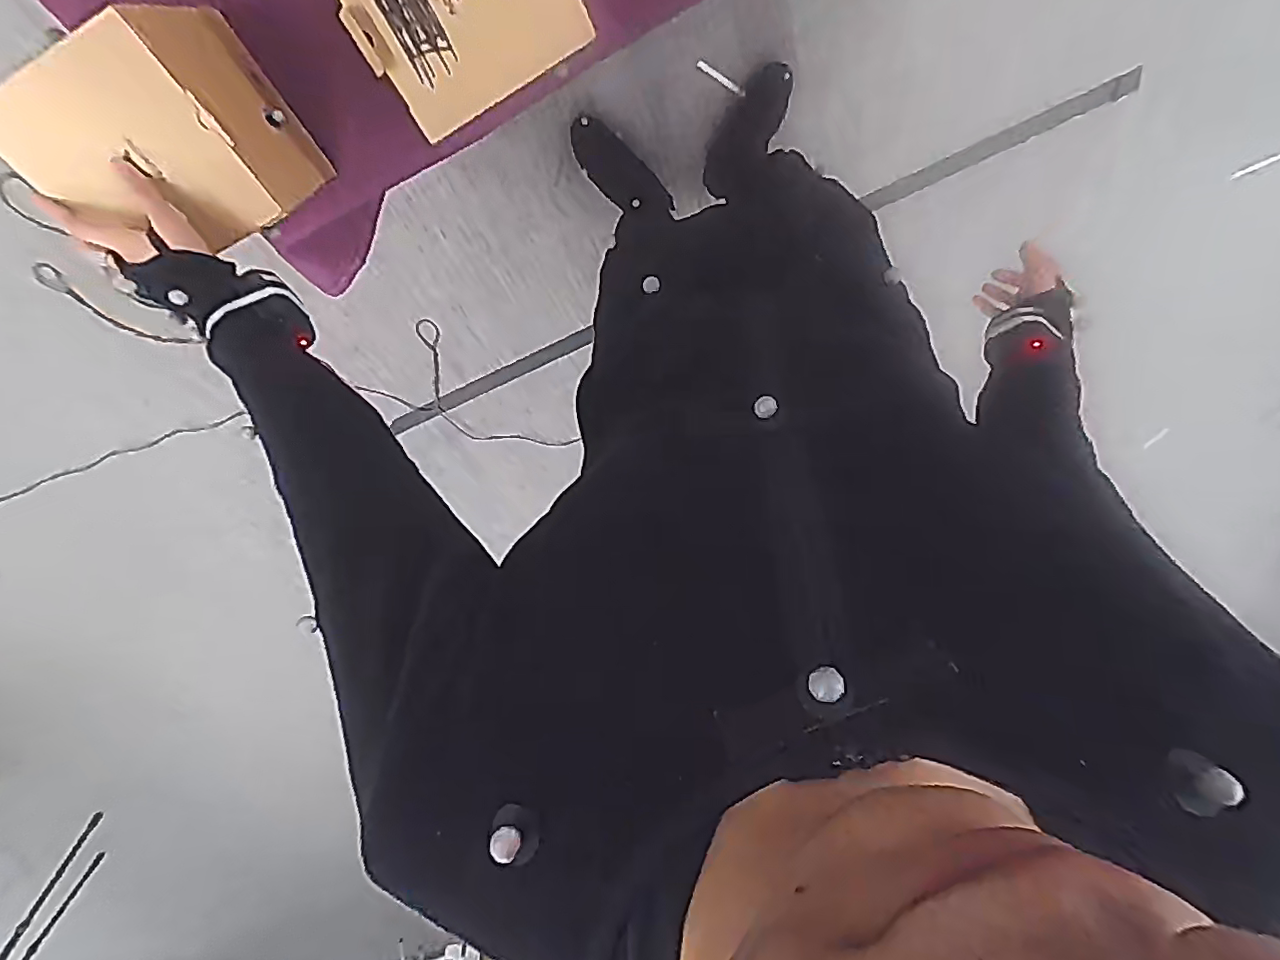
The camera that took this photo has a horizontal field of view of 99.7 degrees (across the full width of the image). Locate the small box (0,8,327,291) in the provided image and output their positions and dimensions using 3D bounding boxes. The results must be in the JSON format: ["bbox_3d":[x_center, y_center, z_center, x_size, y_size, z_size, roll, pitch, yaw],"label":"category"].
[{"bbox_3d":[-0.457,-0.324,0.539,0.179,0.176,0.168,-24,129,10],"label":"small box"}]
